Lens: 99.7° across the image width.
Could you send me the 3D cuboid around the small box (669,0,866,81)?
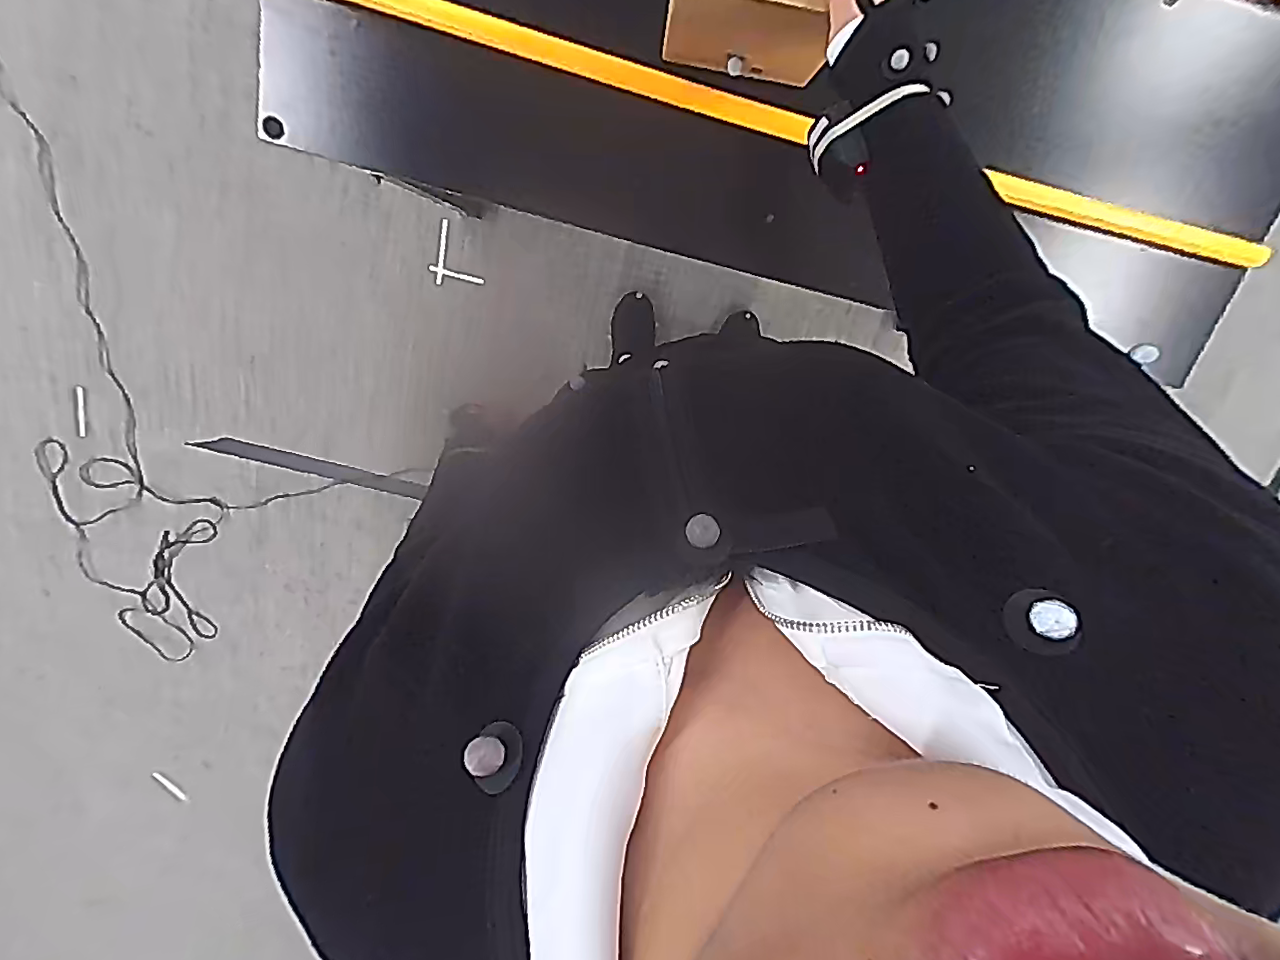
[{"bbox_3d":[0.123,-0.517,0.505,0.168,0.176,0.179,8,110,-4],"label":"small box"}]
